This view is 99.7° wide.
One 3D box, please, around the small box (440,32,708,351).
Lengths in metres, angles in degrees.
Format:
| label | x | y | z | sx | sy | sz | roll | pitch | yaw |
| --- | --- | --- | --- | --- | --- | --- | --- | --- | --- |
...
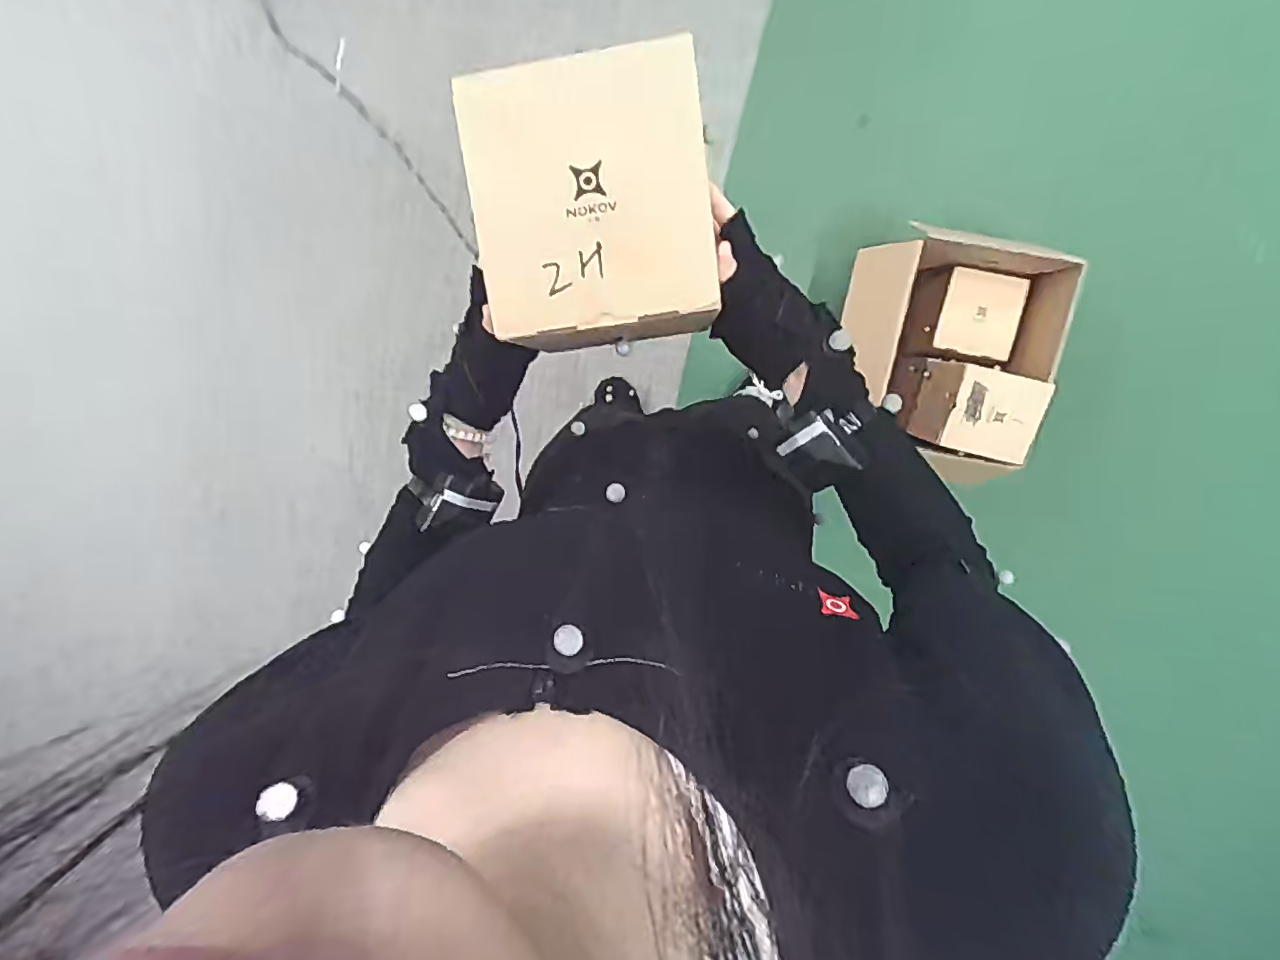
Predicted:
| label | x | y | z | sx | sy | sz | roll | pitch | yaw |
| --- | --- | --- | --- | --- | --- | --- | --- | --- | --- |
| small box | -0.039 | -0.209 | 0.446 | 0.168 | 0.176 | 0.179 | -7 | 100 | 5 |
